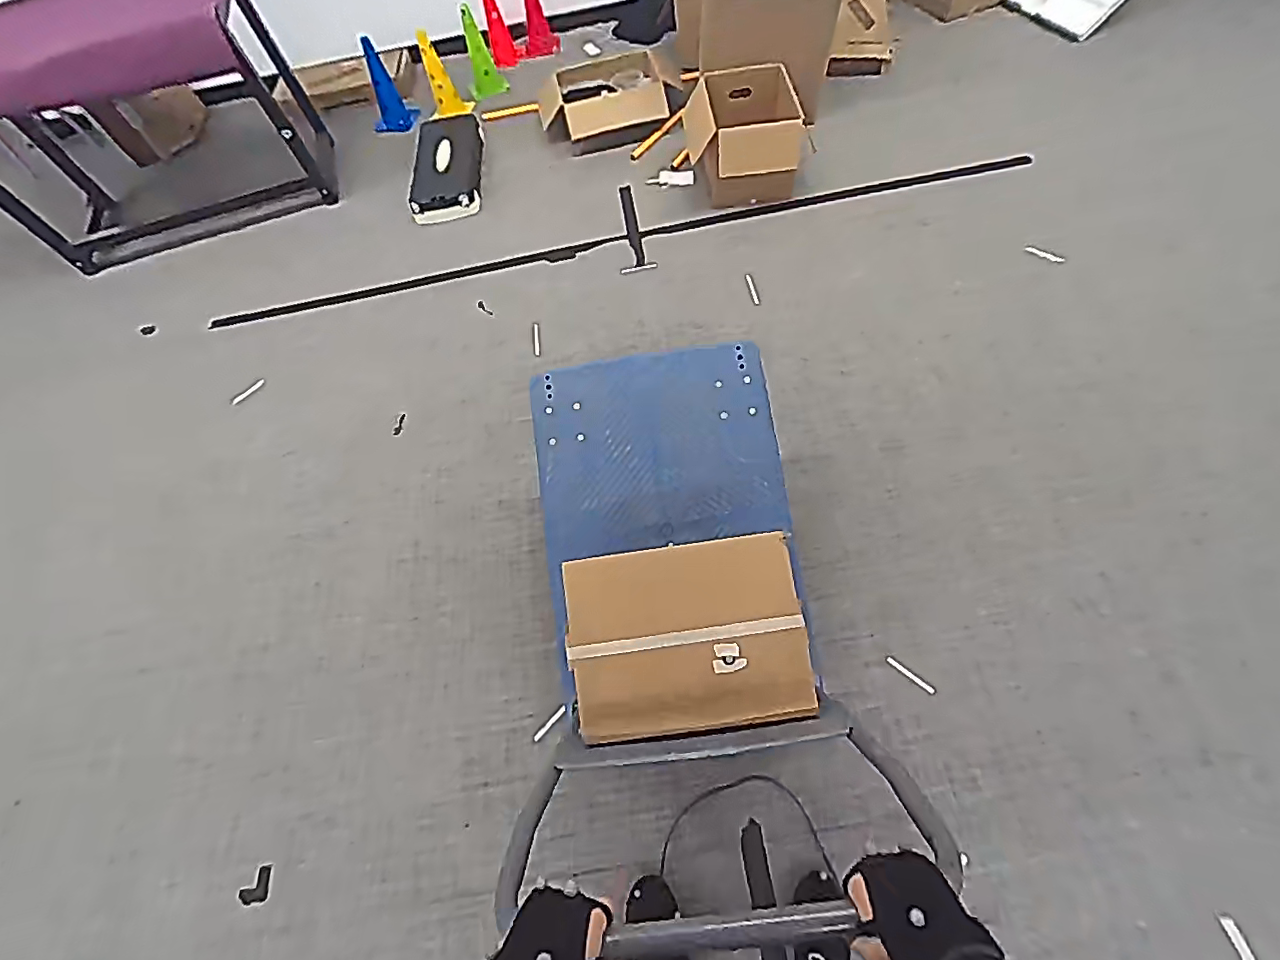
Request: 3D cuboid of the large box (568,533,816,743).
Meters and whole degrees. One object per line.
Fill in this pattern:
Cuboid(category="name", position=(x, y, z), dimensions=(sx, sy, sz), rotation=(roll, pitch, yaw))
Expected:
Cuboid(category="large box", position=(0.091, 0.303, 1.103), dimensions=(0.408, 0.320, 0.320), rotation=(-9, 80, 1))
